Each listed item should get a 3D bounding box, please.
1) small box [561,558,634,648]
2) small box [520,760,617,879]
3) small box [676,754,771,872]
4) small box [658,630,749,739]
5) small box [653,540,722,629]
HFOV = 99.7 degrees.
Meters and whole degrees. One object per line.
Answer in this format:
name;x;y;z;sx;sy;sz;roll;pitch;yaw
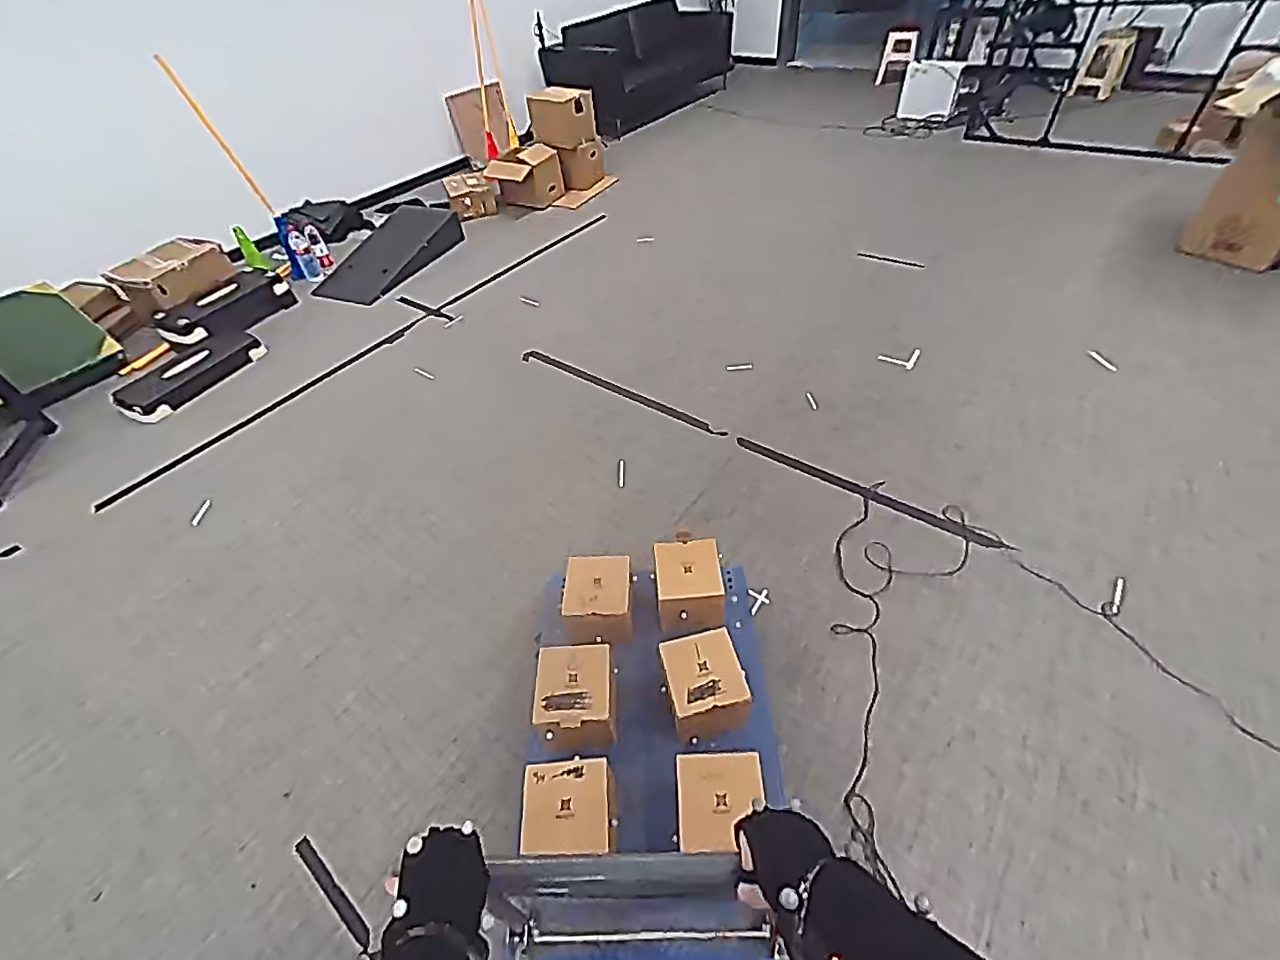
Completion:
small box;-0.106;0.324;1.430;0.168;0.176;0.179;-2;48;4
small box;-0.137;0.689;1.090;0.168;0.176;0.179;-5;47;0
small box;0.161;0.668;1.081;0.168;0.176;0.179;-3;46;3
small box;0.145;0.482;1.258;0.168;0.176;0.179;-12;46;-6
small box;0.126;0.286;1.447;0.168;0.176;0.179;-5;46;1
